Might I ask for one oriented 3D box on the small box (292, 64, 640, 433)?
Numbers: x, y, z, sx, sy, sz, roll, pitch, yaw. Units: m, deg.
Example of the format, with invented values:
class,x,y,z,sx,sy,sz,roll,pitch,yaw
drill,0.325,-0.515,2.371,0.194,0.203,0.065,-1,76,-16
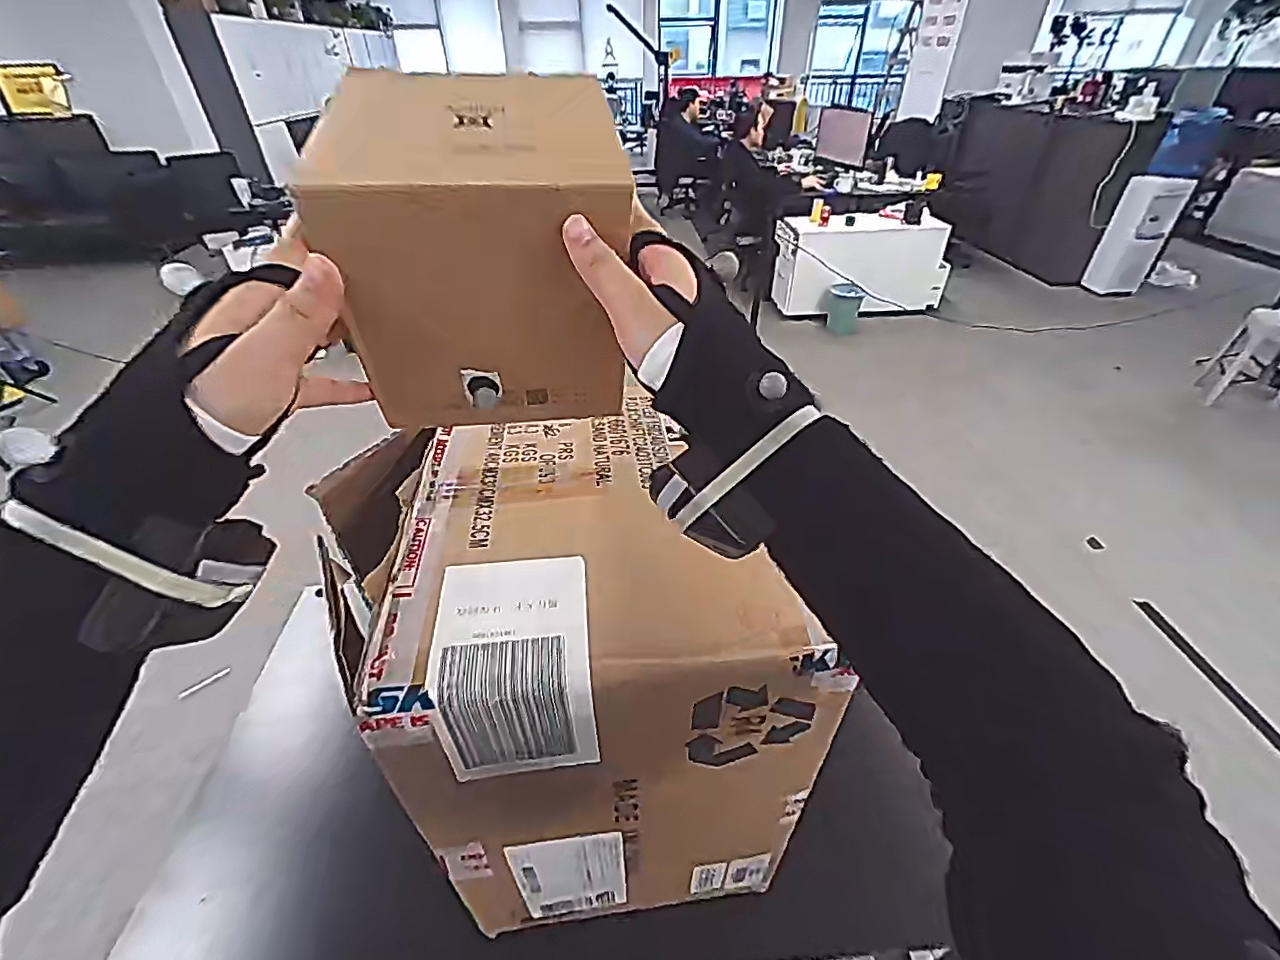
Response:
class,x,y,z,sx,sy,sz,roll,pitch,yaw
small box,-0.099,-0.155,0.371,0.168,0.176,0.179,-6,54,-9
